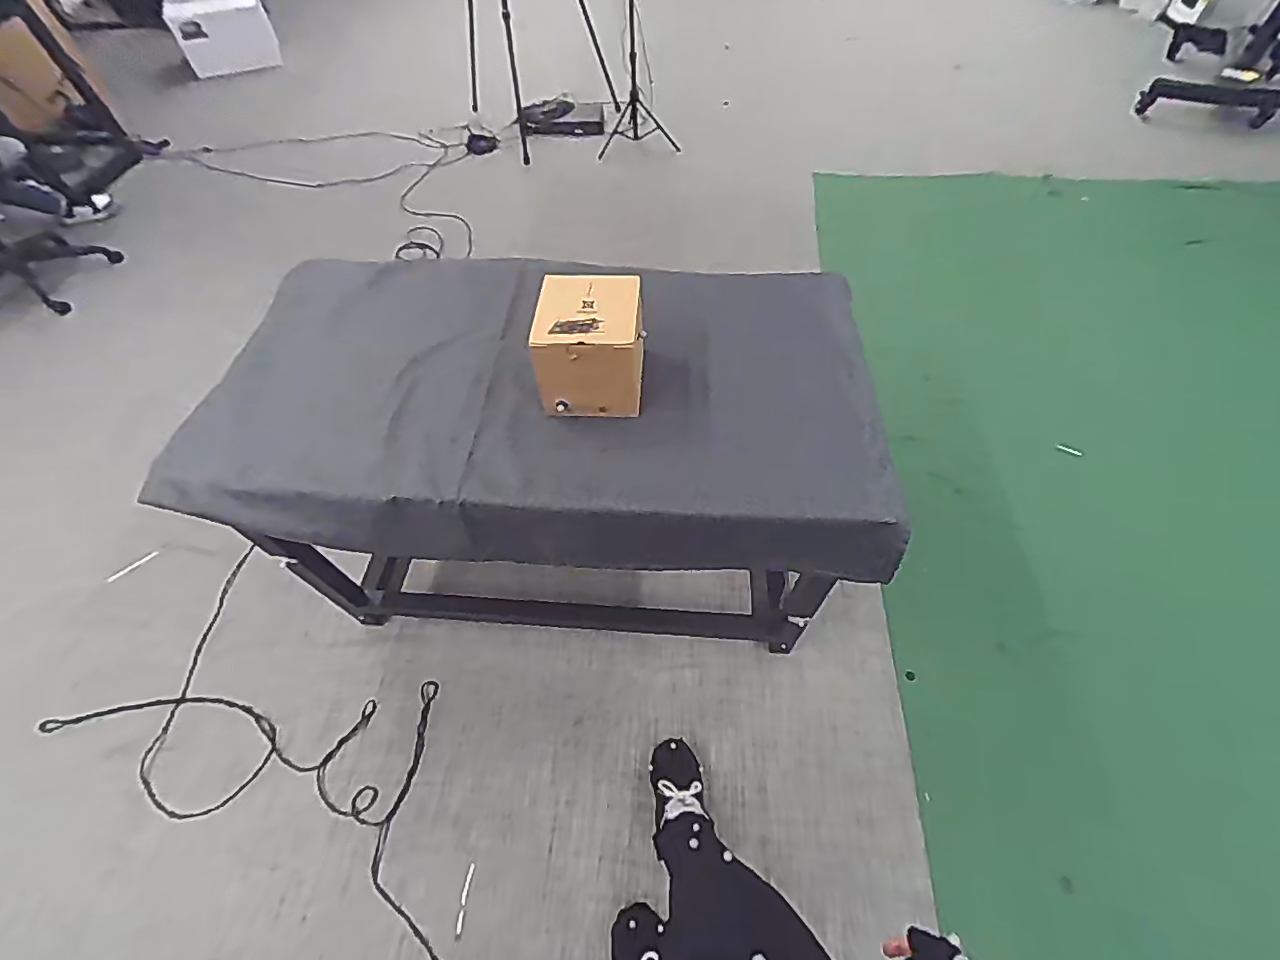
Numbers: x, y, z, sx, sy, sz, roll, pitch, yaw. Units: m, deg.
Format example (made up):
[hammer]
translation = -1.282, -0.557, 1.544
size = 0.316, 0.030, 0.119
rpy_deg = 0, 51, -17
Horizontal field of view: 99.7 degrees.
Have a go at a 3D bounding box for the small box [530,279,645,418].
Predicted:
[small box]
translation = -0.080, -0.223, 0.935
size = 0.168, 0.176, 0.179
rpy_deg = 2, 55, 4
